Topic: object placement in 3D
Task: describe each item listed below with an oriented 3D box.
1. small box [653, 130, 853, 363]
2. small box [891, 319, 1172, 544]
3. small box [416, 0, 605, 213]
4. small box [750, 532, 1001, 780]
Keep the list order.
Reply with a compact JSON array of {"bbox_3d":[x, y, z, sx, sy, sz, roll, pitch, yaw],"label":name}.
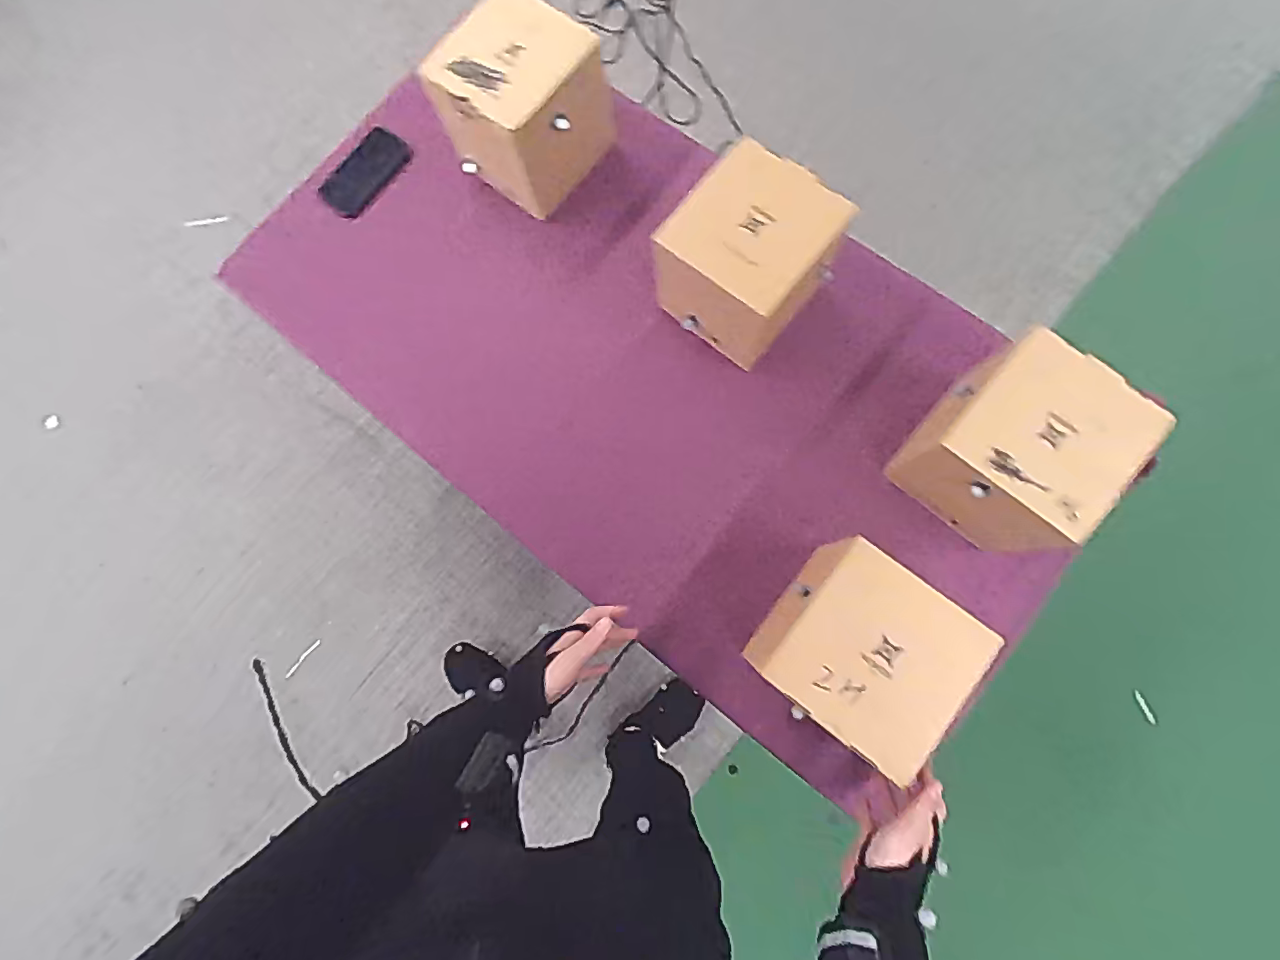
[{"bbox_3d":[0.133,-0.287,0.698,0.168,0.176,0.179,39,86,10],"label":"small box"},{"bbox_3d":[0.432,-0.044,0.632,0.168,0.176,0.179,40,85,11],"label":"small box"},{"bbox_3d":[-0.165,-0.522,0.759,0.168,0.176,0.179,38,84,9],"label":"small box"},{"bbox_3d":[0.239,0.180,0.603,0.168,0.176,0.179,37,85,11],"label":"small box"}]
